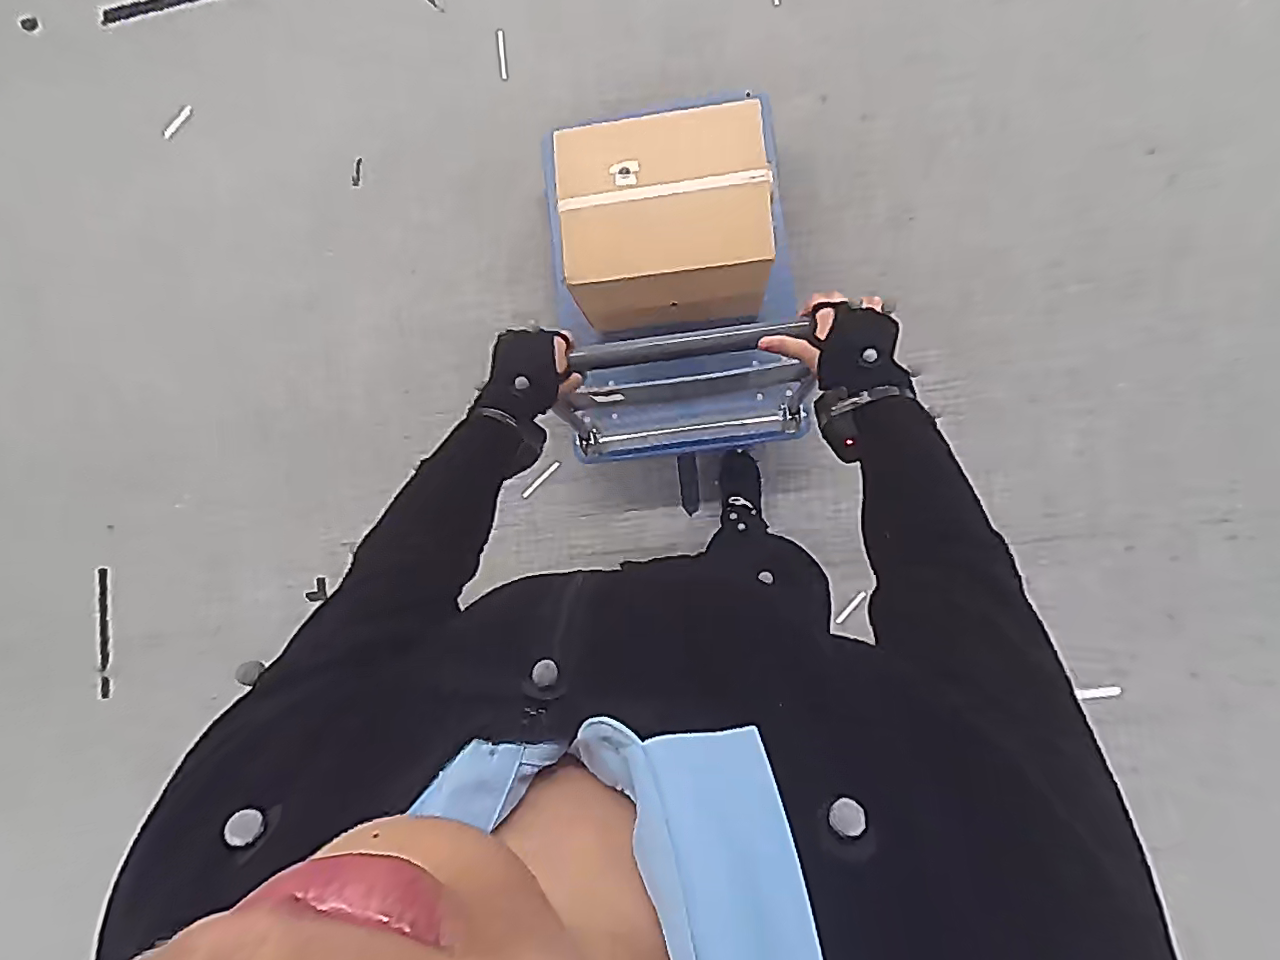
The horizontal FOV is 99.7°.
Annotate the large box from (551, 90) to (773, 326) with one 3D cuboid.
[{"bbox_3d":[0.055,-0.548,1.166,0.408,0.320,0.320,-5,87,7],"label":"large box"}]
